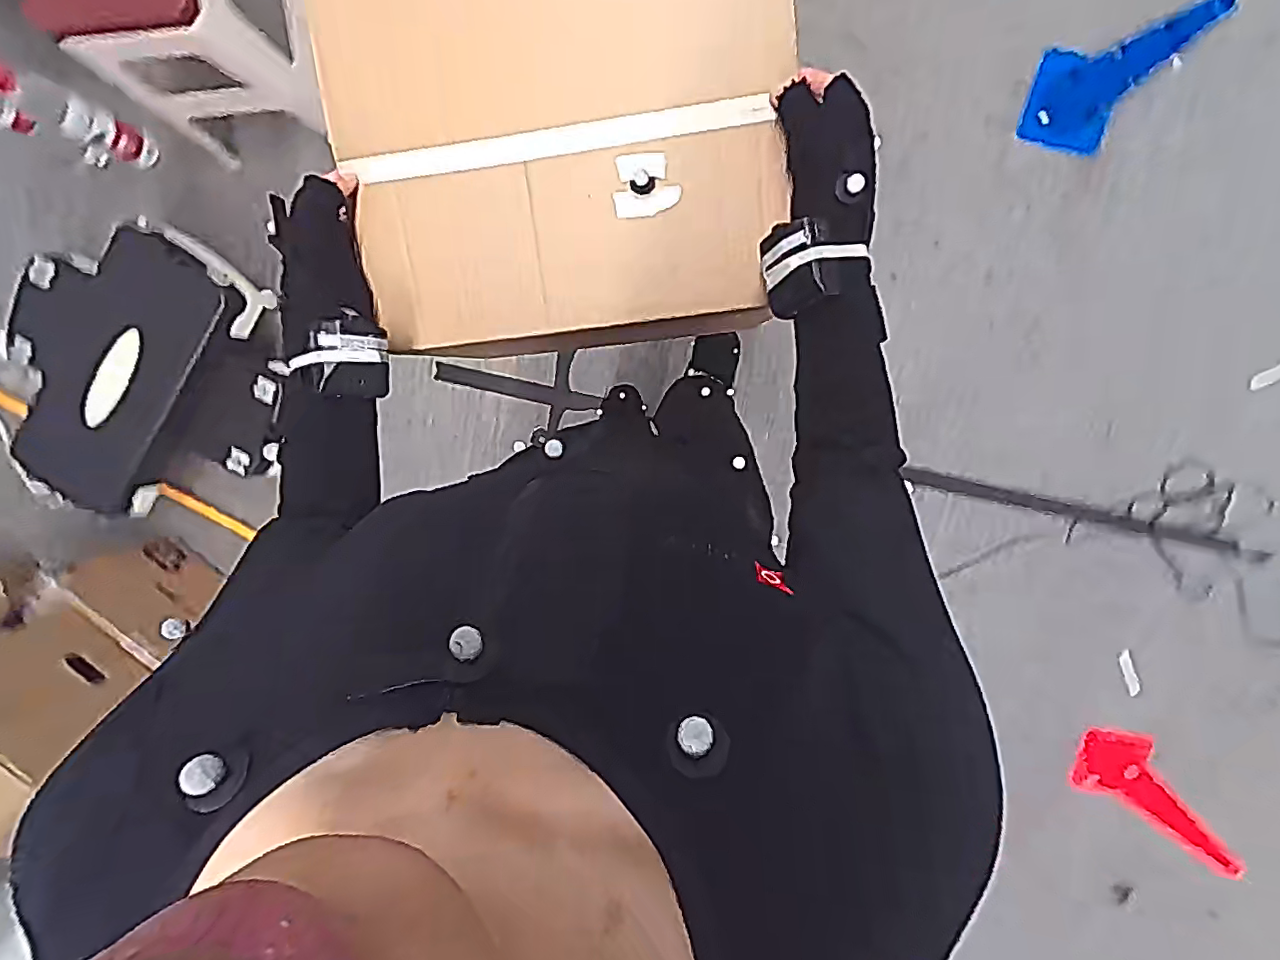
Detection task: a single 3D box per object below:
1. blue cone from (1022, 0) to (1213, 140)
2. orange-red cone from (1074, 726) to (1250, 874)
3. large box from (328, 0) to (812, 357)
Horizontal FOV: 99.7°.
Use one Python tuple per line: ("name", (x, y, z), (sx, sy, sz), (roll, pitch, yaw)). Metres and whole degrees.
("blue cone", (0.992, -0.872, 1.092), (0.193, 0.380, 0.192), (15, 101, 0))
("orange-red cone", (1.381, 0.846, 1.406), (0.199, 0.360, 0.198), (9, 103, 0))
("large box", (-0.051, -0.324, 0.618), (0.408, 0.320, 0.320), (-5, 101, 4))
